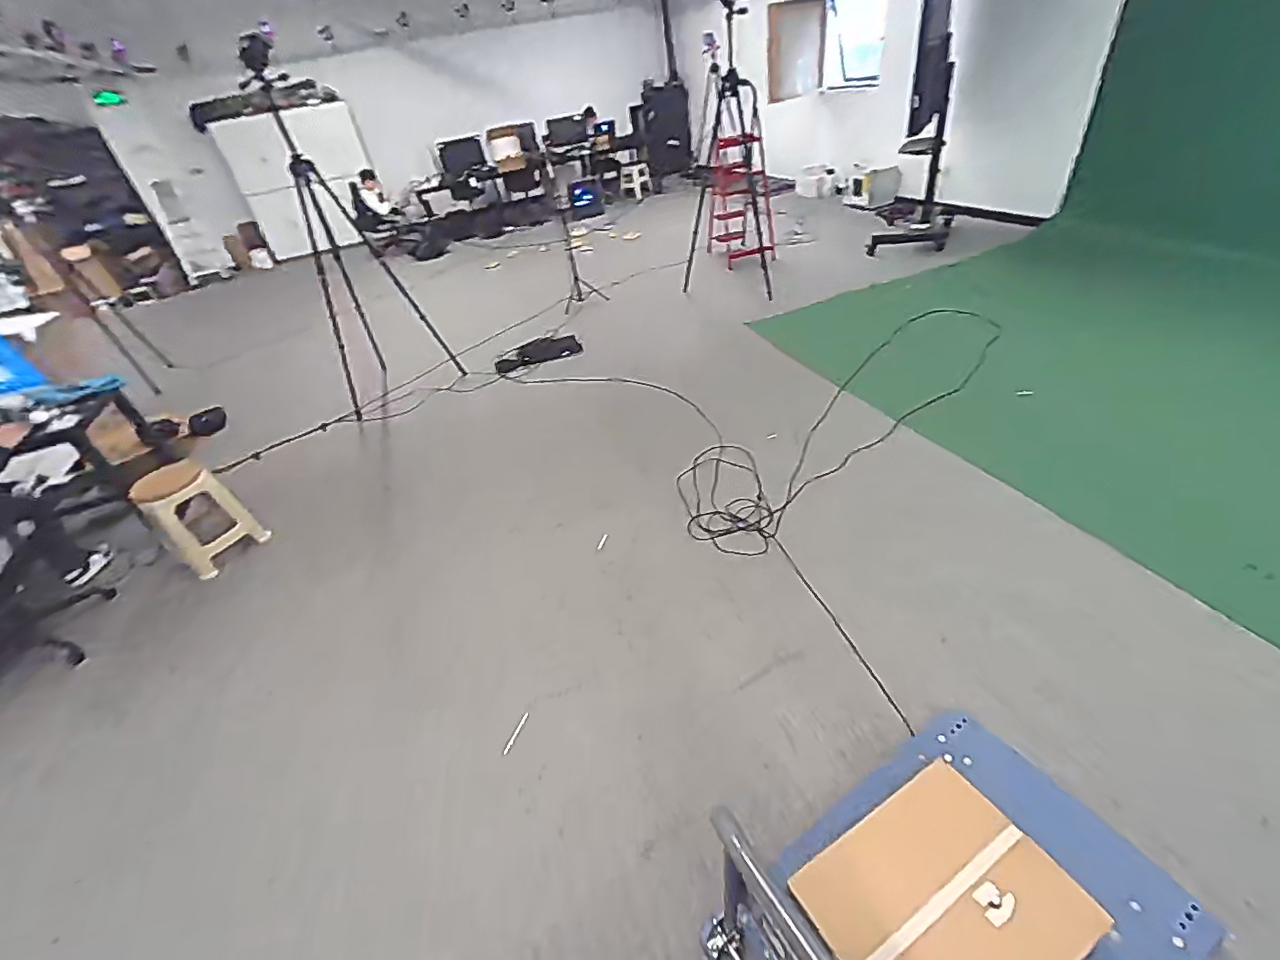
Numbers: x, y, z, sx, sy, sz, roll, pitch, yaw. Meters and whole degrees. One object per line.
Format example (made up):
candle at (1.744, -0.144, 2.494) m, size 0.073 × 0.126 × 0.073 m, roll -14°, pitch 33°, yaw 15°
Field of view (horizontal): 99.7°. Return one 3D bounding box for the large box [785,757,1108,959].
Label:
large box at (0.521, 0.818, 0.991) m, size 0.408 × 0.320 × 0.320 m, roll -24°, pitch 40°, yaw -19°
